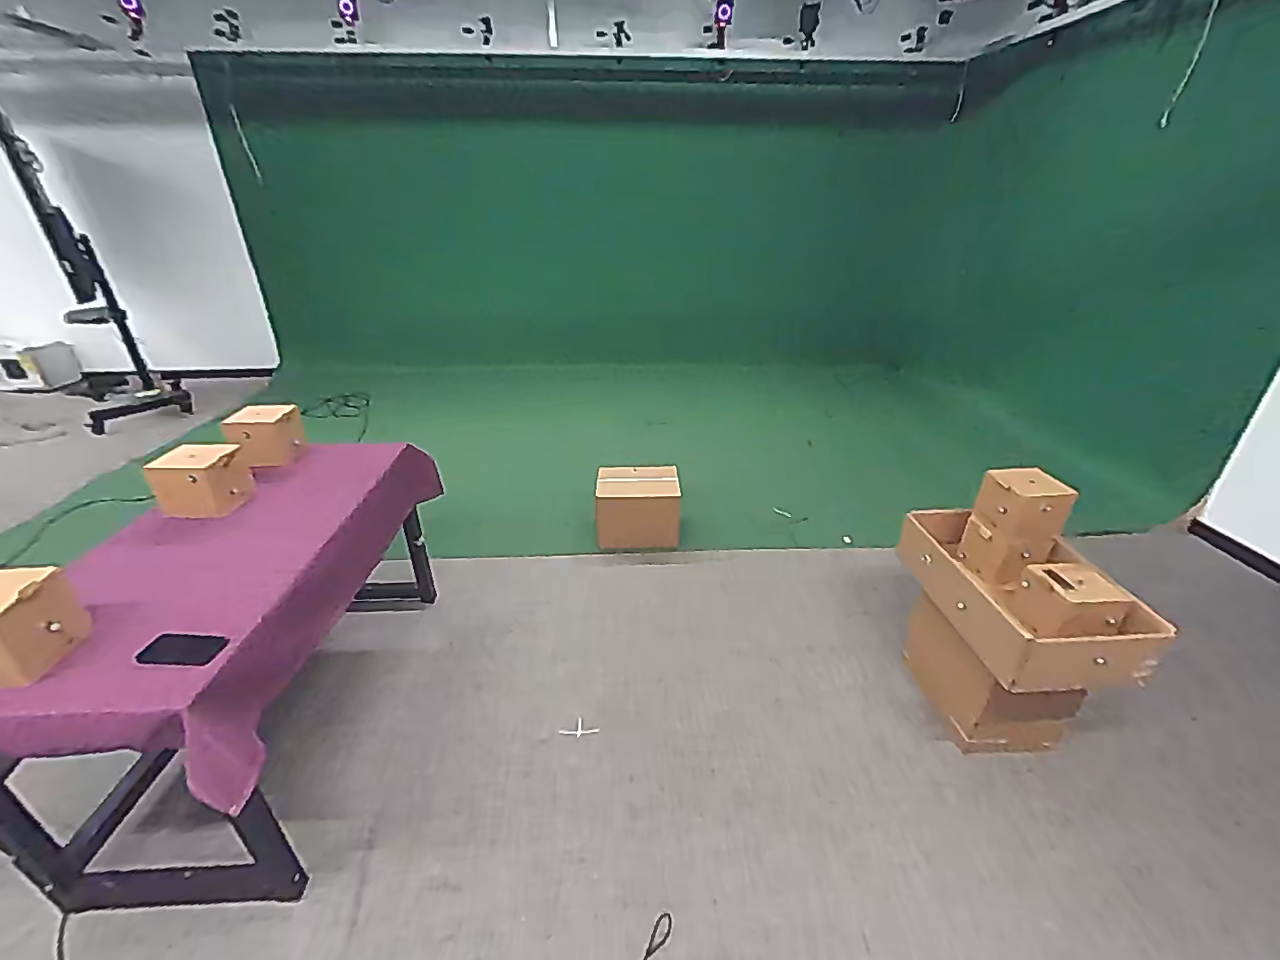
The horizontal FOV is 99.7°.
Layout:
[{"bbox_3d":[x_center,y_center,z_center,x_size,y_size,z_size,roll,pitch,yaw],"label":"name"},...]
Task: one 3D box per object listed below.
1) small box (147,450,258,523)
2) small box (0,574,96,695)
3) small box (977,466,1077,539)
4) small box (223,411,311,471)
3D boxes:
[{"bbox_3d":[-1.305,0.019,1.628,0.179,0.176,0.168,0,27,-1],"label":"small box"},{"bbox_3d":[-1.257,0.308,1.070,0.179,0.176,0.168,-3,27,-7],"label":"small box"},{"bbox_3d":[1.179,0.071,1.668,0.179,0.176,0.168,-3,29,-6],"label":"small box"},{"bbox_3d":[-1.316,-0.138,1.919,0.179,0.176,0.168,-1,29,-2],"label":"small box"}]
